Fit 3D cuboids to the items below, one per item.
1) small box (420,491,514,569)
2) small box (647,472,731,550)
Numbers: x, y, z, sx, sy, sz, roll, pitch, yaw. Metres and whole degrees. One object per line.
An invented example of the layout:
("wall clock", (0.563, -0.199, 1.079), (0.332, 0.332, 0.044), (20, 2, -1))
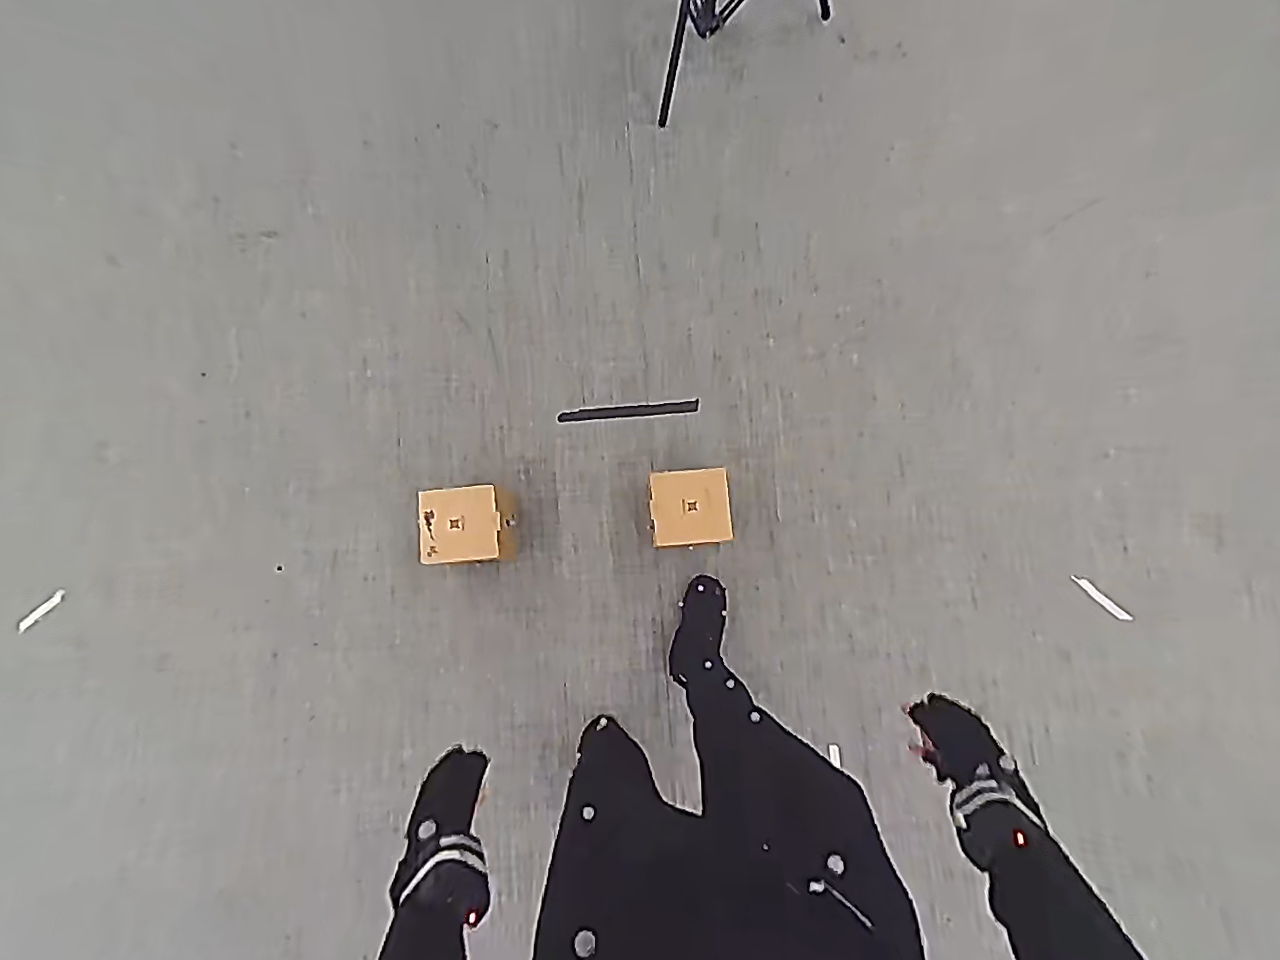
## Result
("small box", (-0.400, 0.119, 1.278), (0.179, 0.176, 0.168), (-5, 82, 0))
("small box", (0.110, 0.078, 1.280), (0.179, 0.176, 0.168), (-5, 83, -1))
